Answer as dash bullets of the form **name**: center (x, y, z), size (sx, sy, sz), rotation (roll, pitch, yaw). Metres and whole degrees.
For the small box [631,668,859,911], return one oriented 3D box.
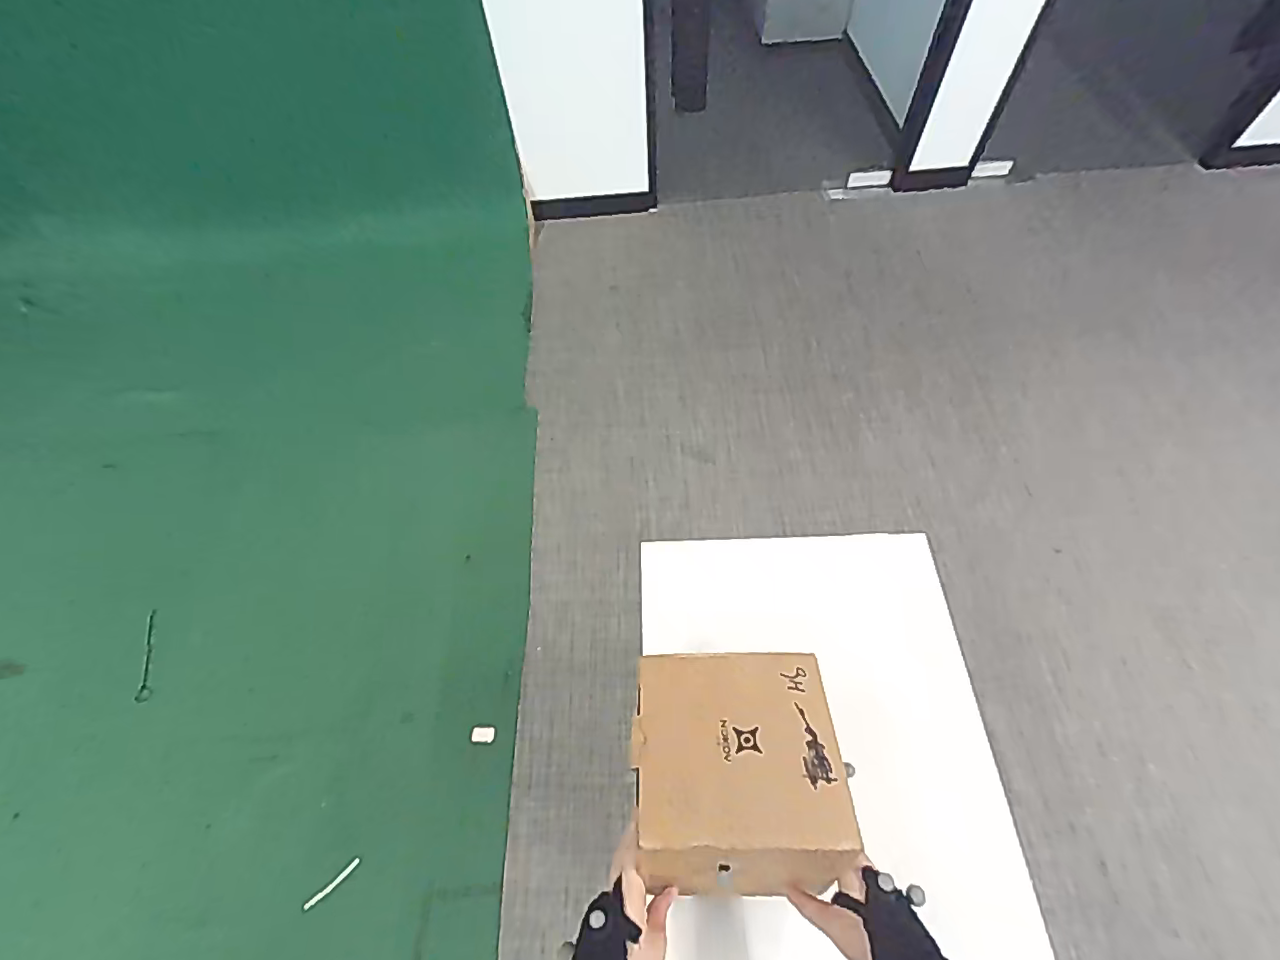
- **small box**: center (0.085, 0.299, 0.522), size (0.179, 0.176, 0.168), rotation (-1, 43, 2)
